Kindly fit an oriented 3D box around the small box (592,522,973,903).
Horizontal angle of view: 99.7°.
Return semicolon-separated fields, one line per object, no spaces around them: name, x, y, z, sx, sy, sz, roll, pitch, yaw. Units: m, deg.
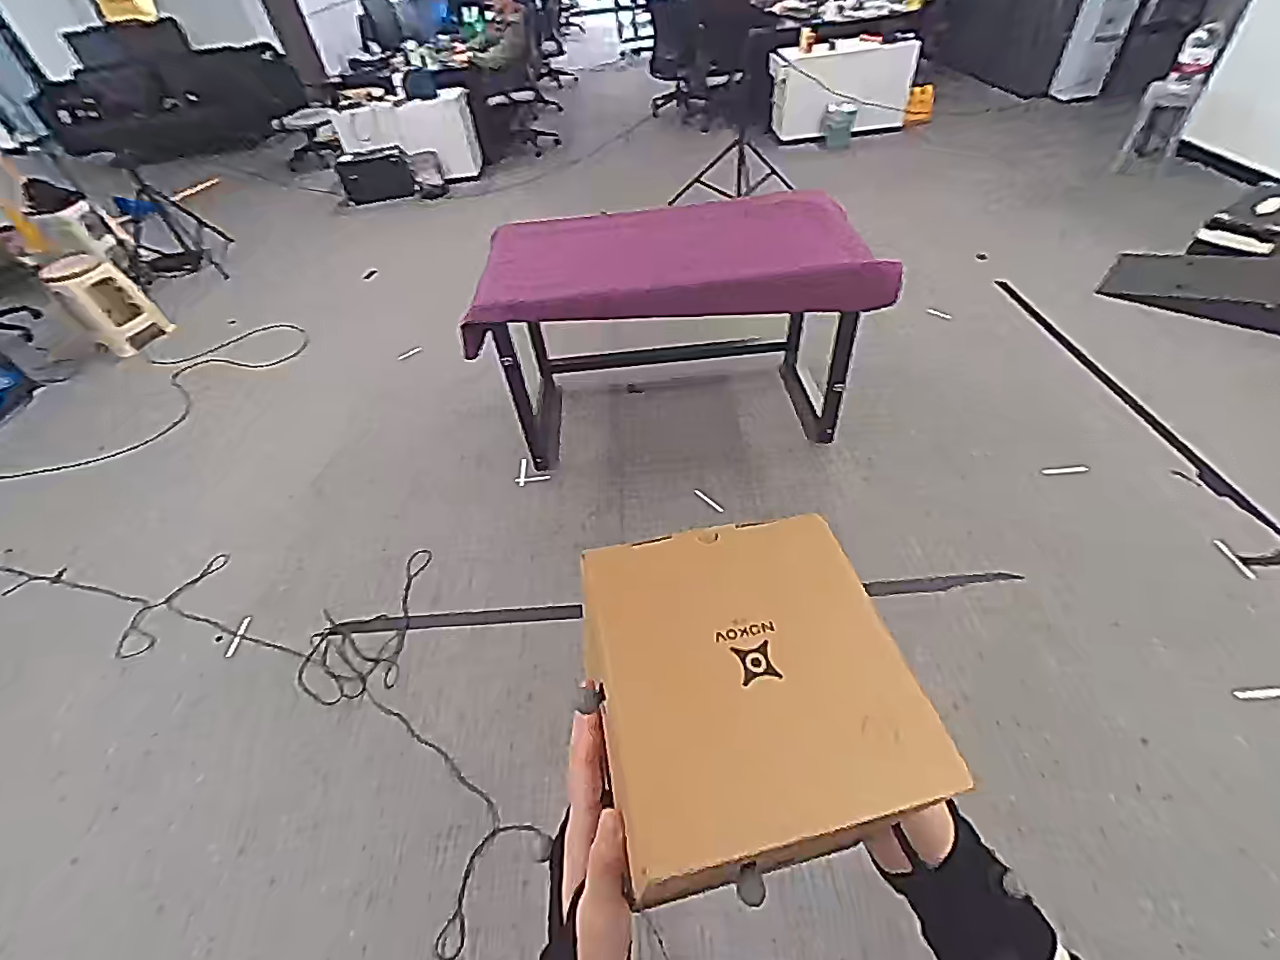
small box;0.064;0.157;0.363;0.168;0.176;0.179;-8;48;-11
